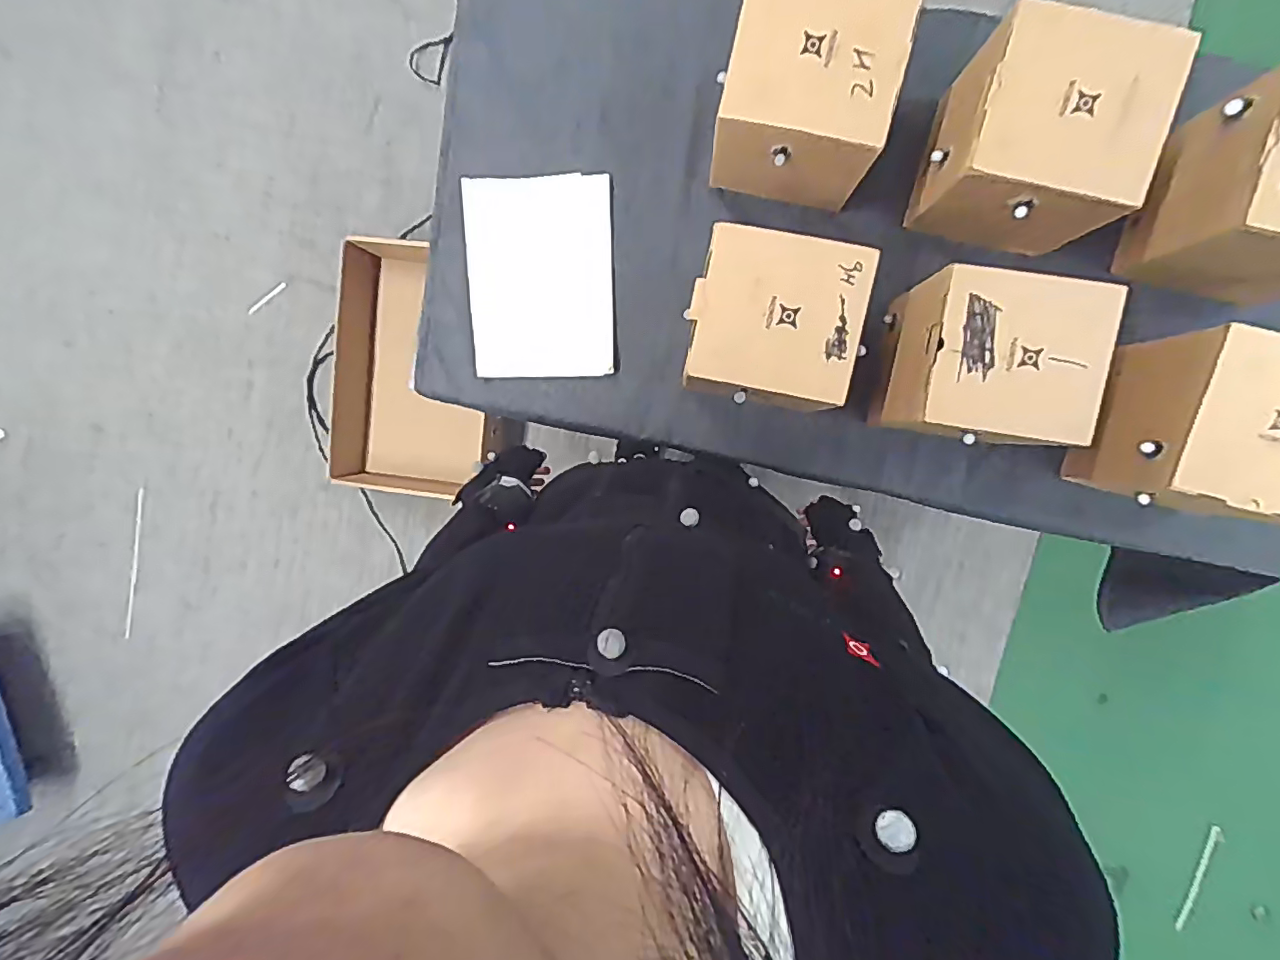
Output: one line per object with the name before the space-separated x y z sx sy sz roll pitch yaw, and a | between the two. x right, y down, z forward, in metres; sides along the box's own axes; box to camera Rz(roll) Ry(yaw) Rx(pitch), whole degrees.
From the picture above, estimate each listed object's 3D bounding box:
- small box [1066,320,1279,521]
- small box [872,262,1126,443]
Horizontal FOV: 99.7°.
small box | 0.646 -0.063 0.621 0.168 0.176 0.179 15 96 3
small box | 0.394 -0.136 0.630 0.179 0.176 0.168 9 95 2
